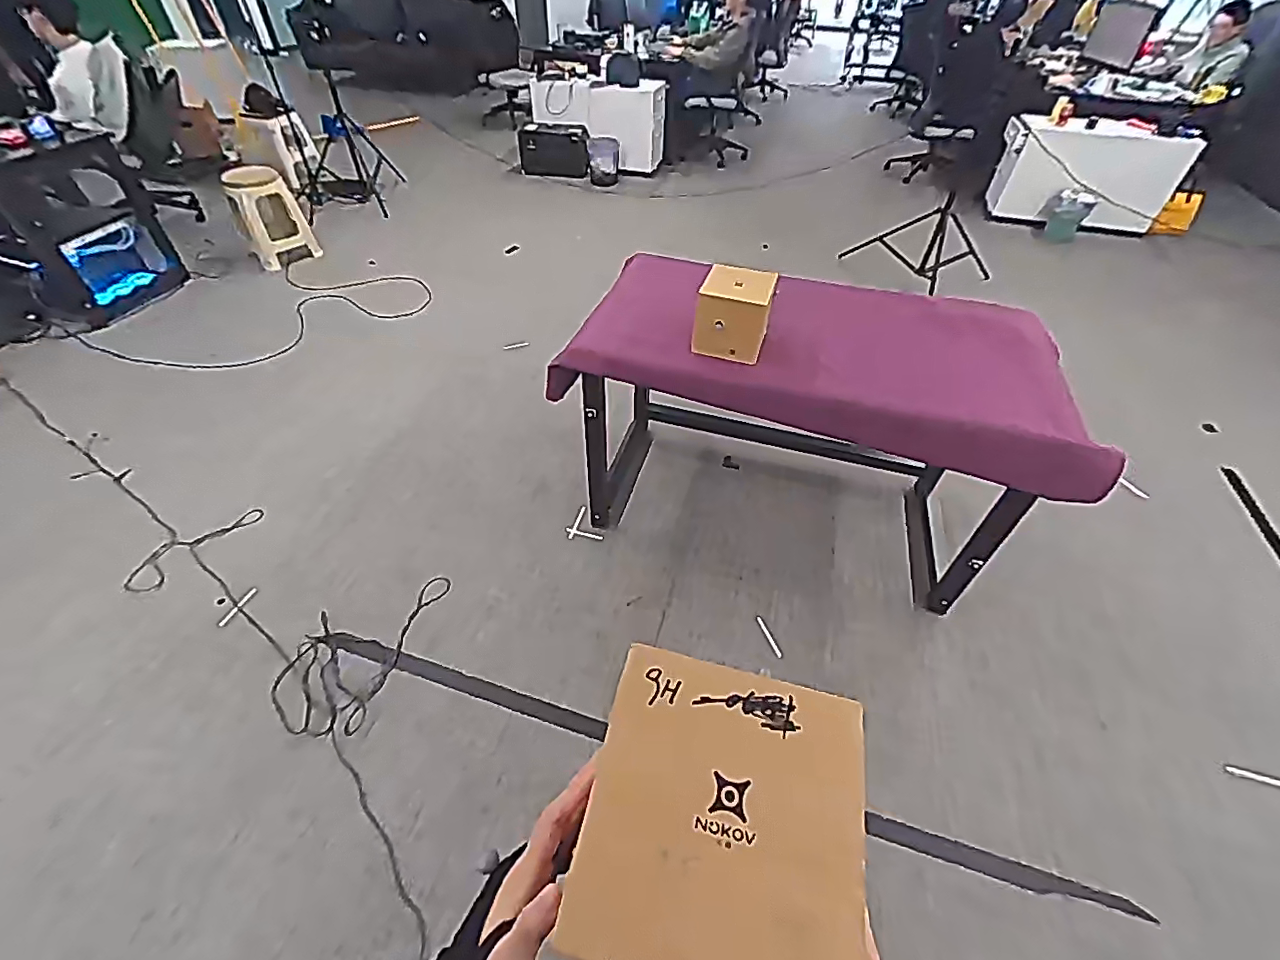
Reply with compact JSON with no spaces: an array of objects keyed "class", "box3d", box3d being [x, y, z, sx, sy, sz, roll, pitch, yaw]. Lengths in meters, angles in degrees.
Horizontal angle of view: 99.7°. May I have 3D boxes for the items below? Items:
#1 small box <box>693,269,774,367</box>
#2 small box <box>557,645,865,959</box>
[{"class":"small box","box3d":[0.234,-0.411,1.375,0.168,0.176,0.179,14,46,11]},{"class":"small box","box3d":[0.051,0.251,0.397,0.168,0.176,0.179,13,54,6]}]
